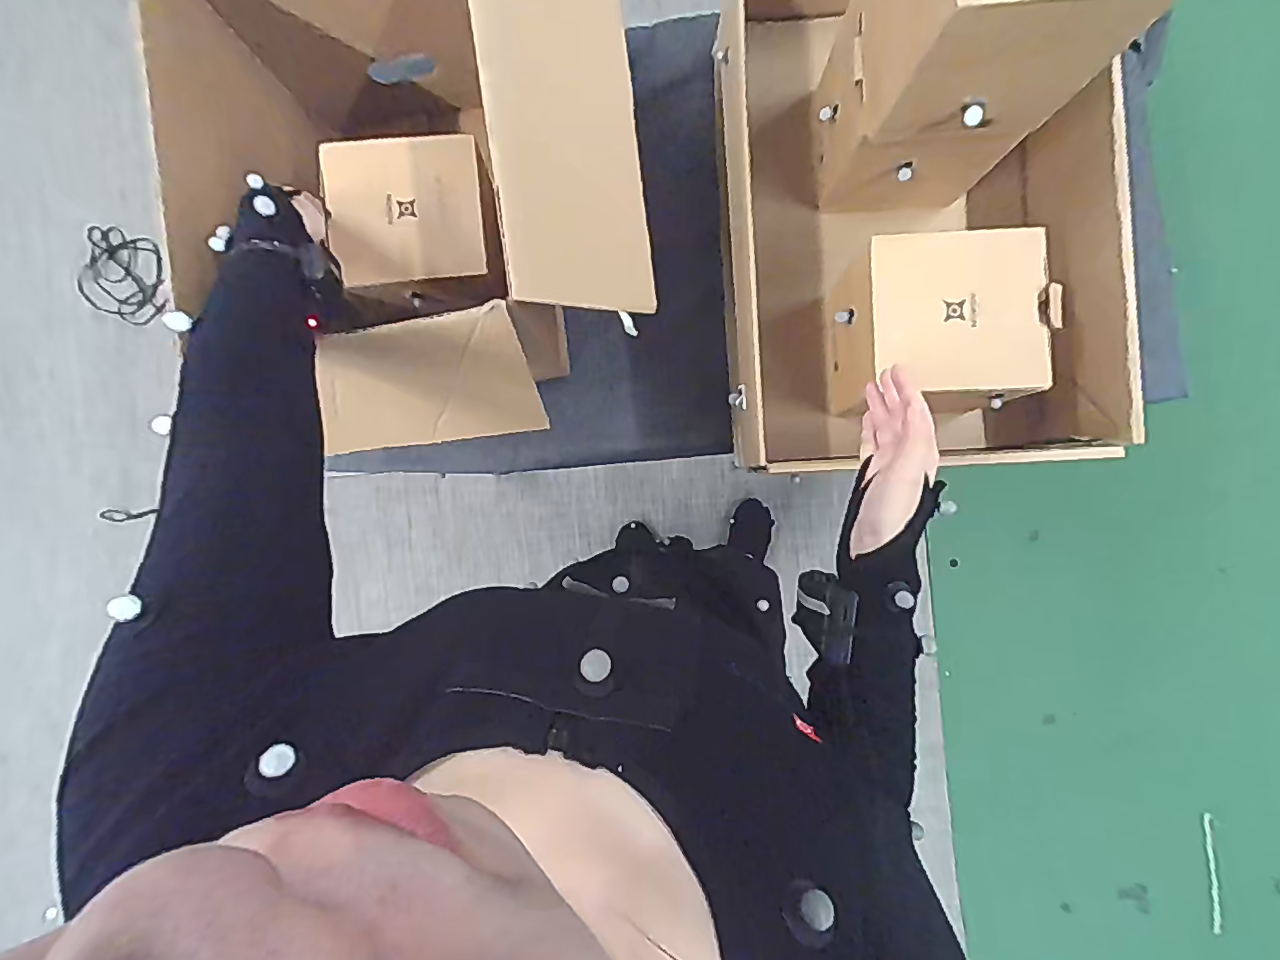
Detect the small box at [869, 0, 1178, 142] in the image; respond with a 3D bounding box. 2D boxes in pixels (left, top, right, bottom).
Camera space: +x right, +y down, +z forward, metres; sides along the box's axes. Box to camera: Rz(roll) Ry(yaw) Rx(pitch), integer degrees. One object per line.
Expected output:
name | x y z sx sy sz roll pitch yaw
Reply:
small box | 0.310 -0.432 0.466 0.168 0.176 0.179 -2 92 3
